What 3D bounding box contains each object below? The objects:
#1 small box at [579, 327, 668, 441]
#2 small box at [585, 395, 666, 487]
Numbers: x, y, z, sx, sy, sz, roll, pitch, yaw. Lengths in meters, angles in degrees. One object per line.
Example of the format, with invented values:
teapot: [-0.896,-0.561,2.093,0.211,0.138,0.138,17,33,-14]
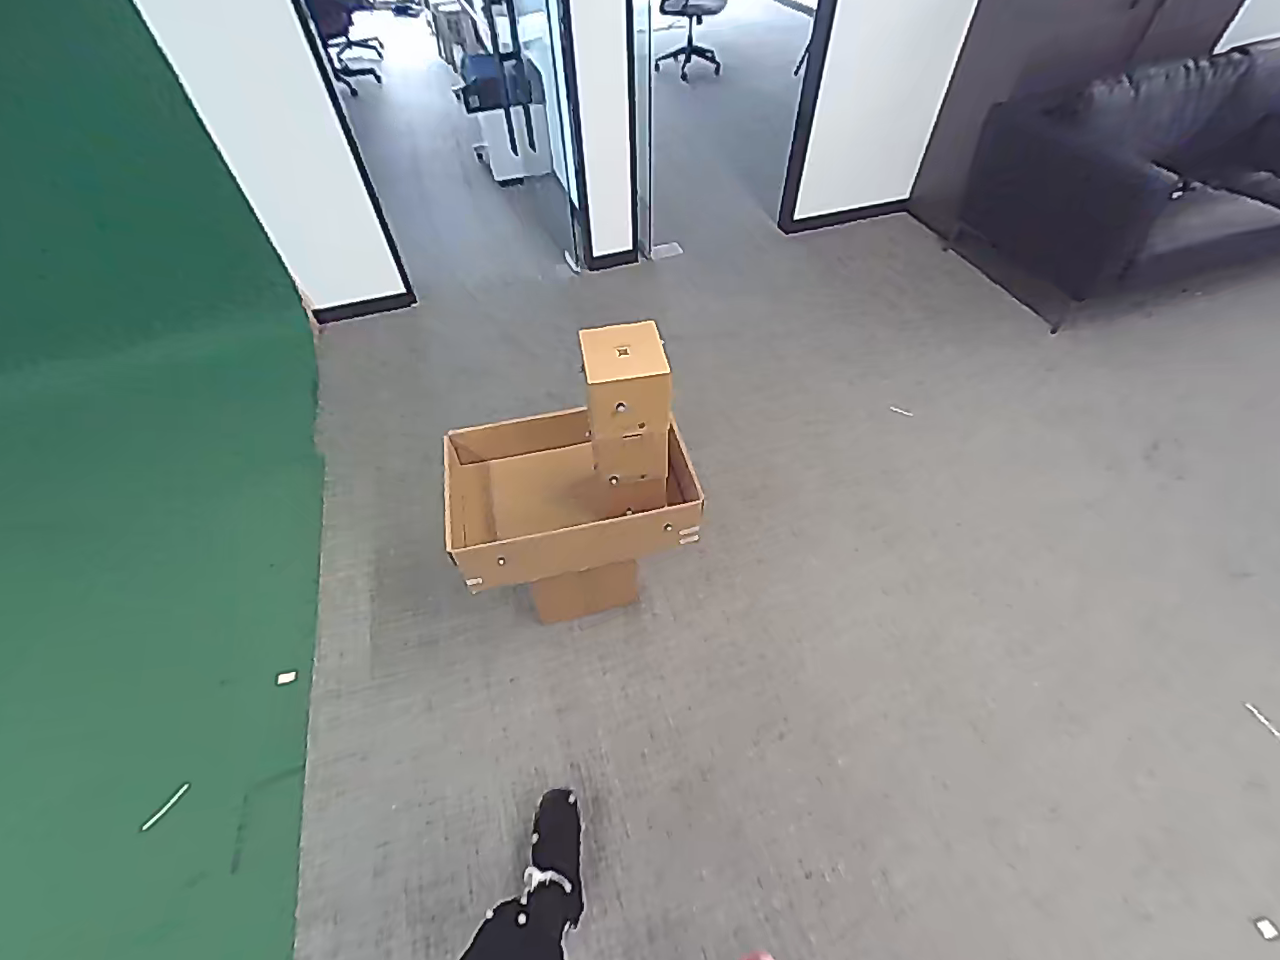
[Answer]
small box: [-0.033,-0.199,1.162,0.168,0.176,0.179,-9,51,-5]
small box: [-0.033,-0.097,1.288,0.168,0.176,0.179,-9,51,-6]
